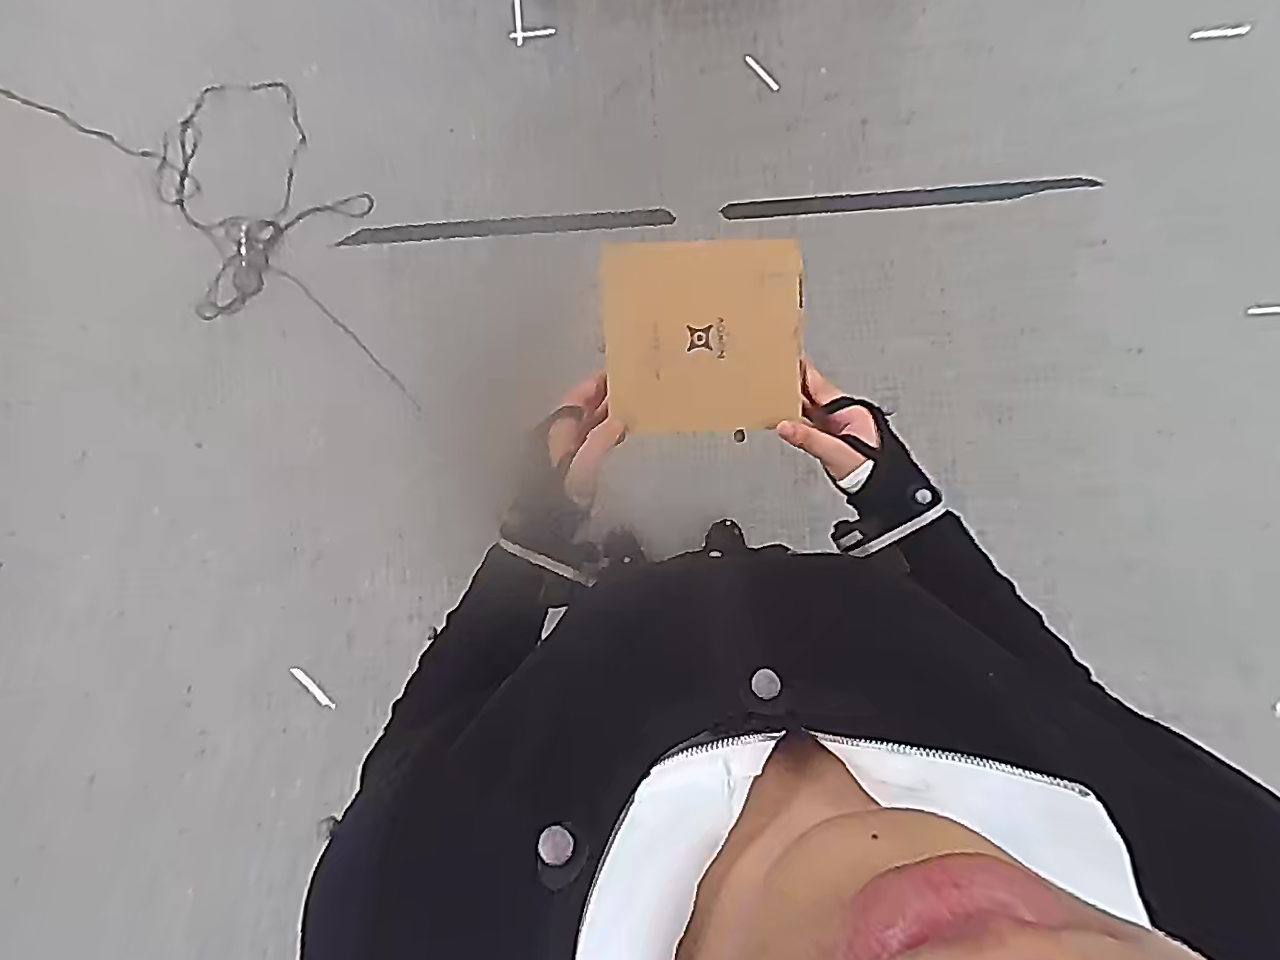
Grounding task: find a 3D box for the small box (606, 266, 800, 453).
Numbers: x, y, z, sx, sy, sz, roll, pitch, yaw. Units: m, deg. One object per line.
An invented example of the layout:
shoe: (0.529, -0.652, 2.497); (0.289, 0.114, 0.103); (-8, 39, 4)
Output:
small box: (0.060, -0.118, 0.574); (0.179, 0.176, 0.168); (-3, 96, 2)
